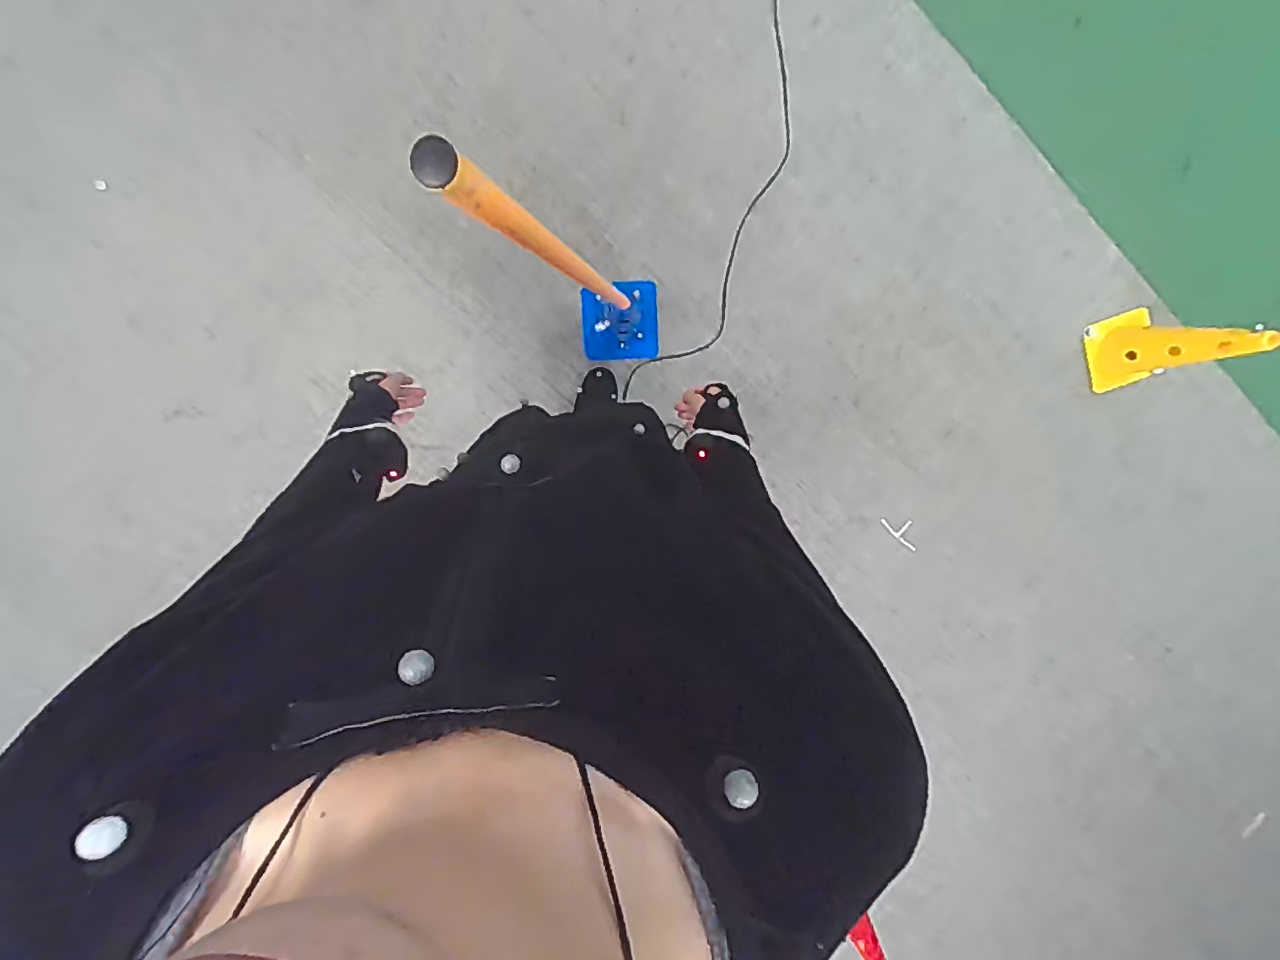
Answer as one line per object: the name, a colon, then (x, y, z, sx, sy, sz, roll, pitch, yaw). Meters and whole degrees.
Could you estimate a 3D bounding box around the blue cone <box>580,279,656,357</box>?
blue cone: (-0.046, -0.388, 1.245, 0.193, 0.380, 0.192, -4, 101, -2)
